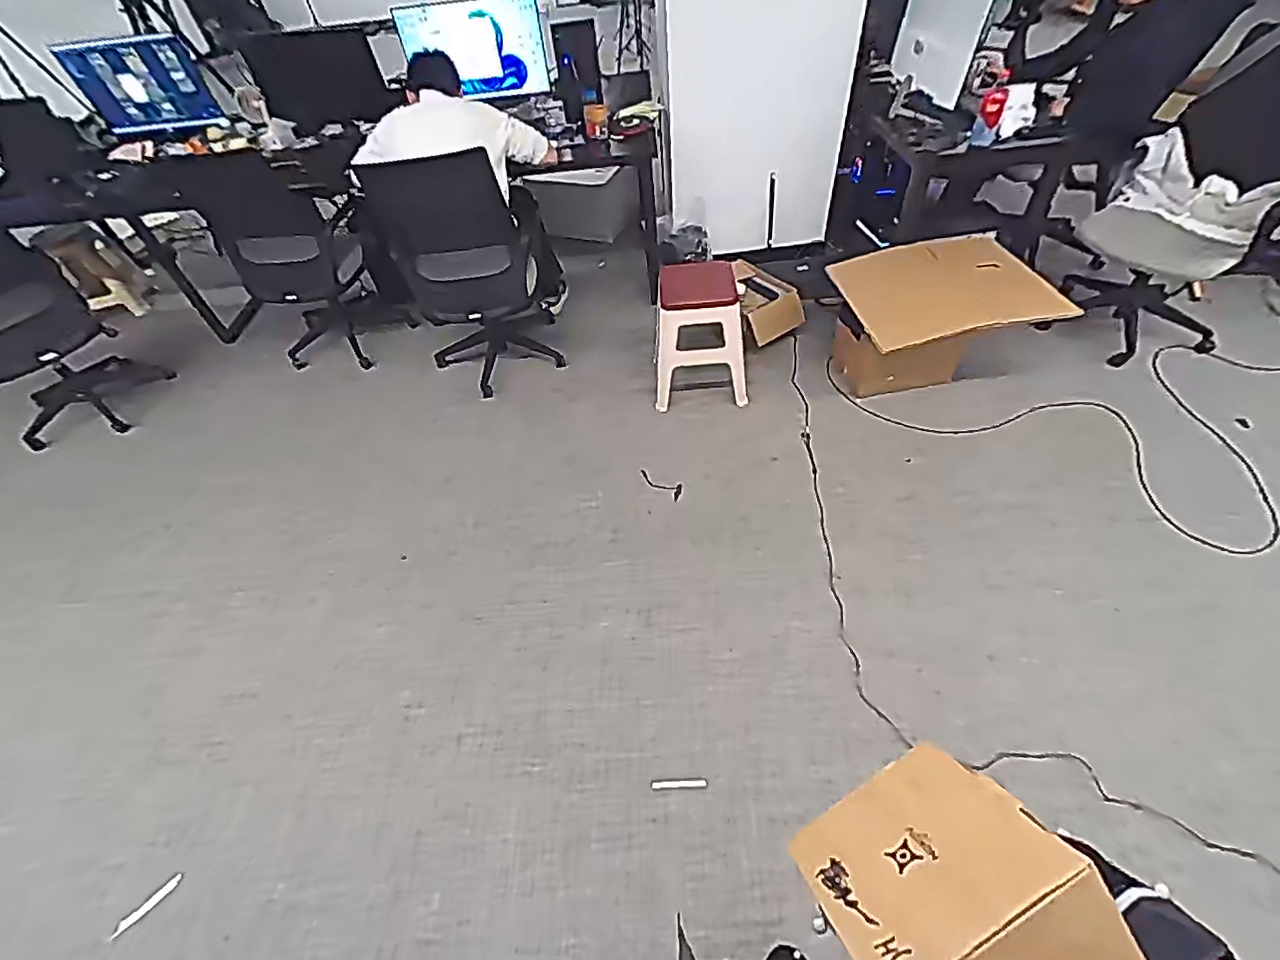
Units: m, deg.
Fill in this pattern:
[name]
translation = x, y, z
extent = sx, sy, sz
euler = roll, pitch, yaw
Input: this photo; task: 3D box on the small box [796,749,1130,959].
[small box]
translation = 0.272, 0.382, 0.459
extent = 0.179, 0.168, 0.176
euler = -30, 95, -6
